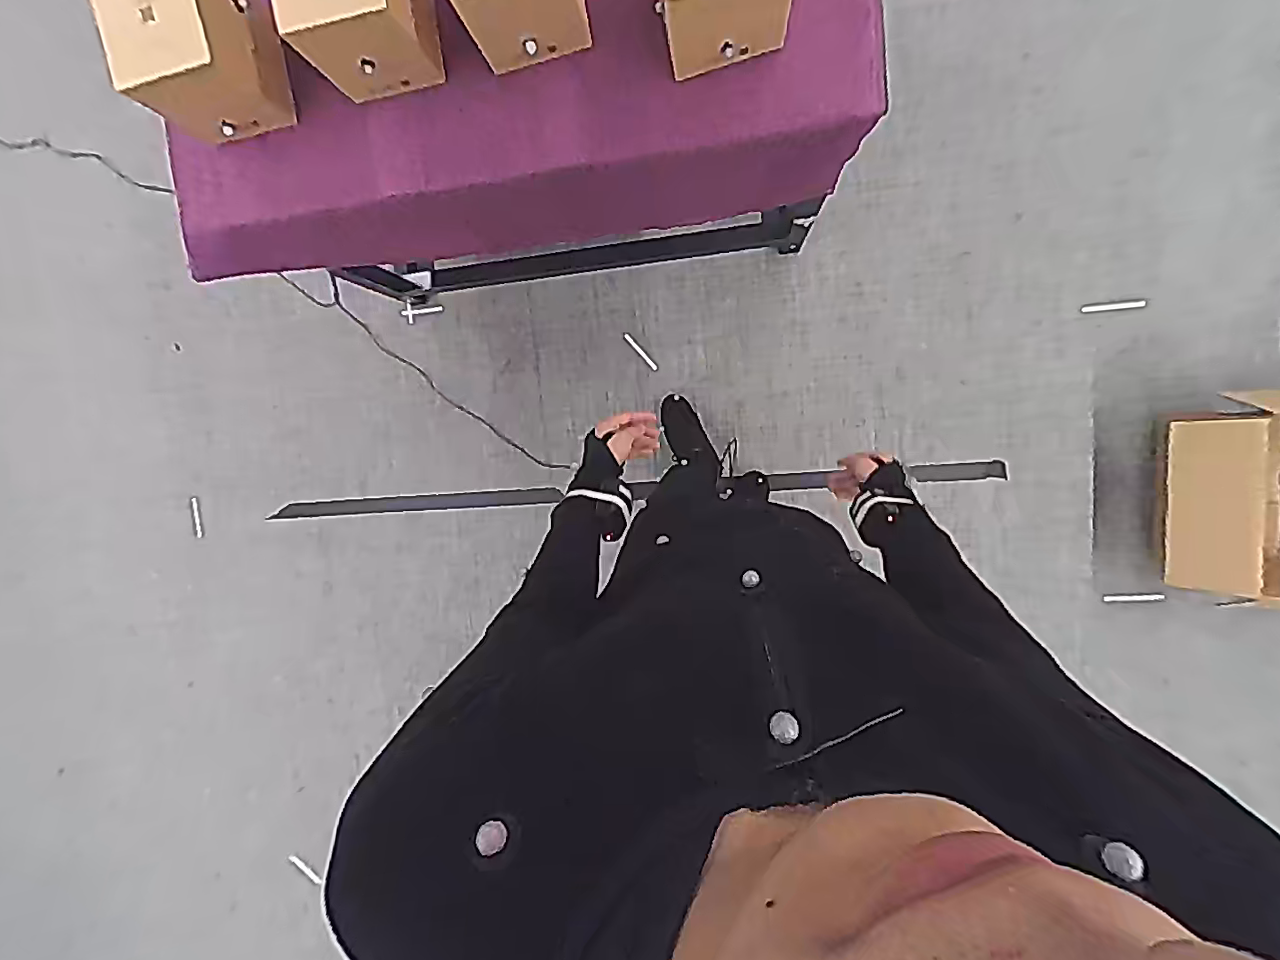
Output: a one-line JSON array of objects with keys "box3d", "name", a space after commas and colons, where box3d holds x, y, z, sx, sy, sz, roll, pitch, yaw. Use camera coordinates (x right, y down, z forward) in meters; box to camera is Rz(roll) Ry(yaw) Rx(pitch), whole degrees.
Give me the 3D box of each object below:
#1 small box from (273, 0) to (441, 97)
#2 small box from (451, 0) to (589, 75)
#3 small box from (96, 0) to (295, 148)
[{"box3d": [-0.420, -0.714, 0.812, 0.168, 0.176, 0.179, -7, 95, 8], "name": "small box"}, {"box3d": [-0.182, -0.742, 0.779, 0.168, 0.176, 0.179, -10, 95, 8], "name": "small box"}, {"box3d": [-0.688, -0.668, 0.851, 0.168, 0.176, 0.179, -9, 95, 8], "name": "small box"}]
